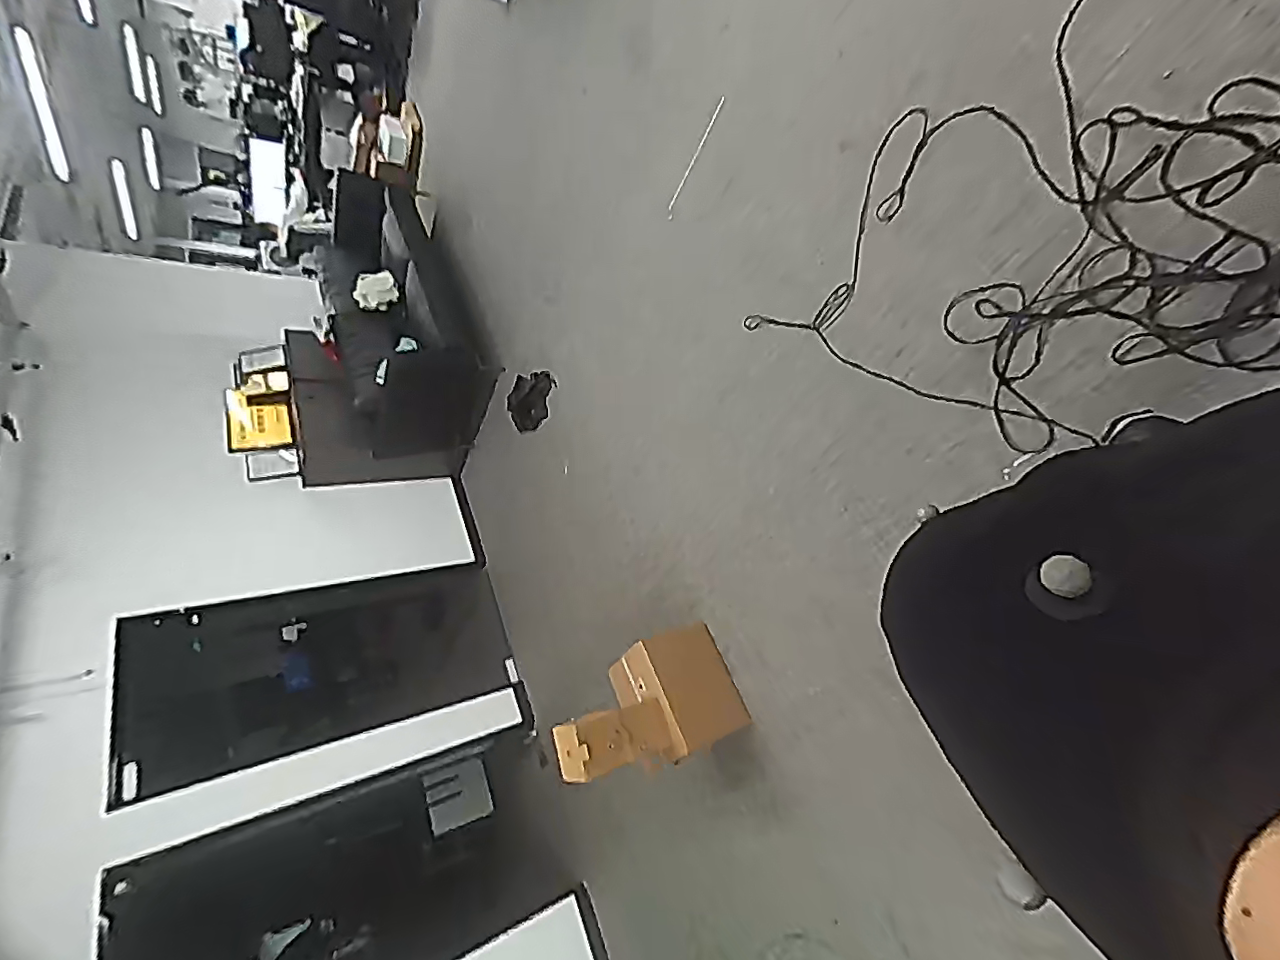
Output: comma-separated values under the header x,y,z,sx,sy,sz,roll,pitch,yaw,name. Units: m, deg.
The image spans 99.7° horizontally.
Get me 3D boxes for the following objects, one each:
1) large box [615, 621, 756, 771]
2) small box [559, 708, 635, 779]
x,y,z,sx,sy,sz,roll,pitch,yaw,name
0.161,0.804,2.039,0.320,0.320,0.408,-54,51,41,large box
-0.142,0.858,1.767,0.179,0.176,0.168,-37,64,50,small box
